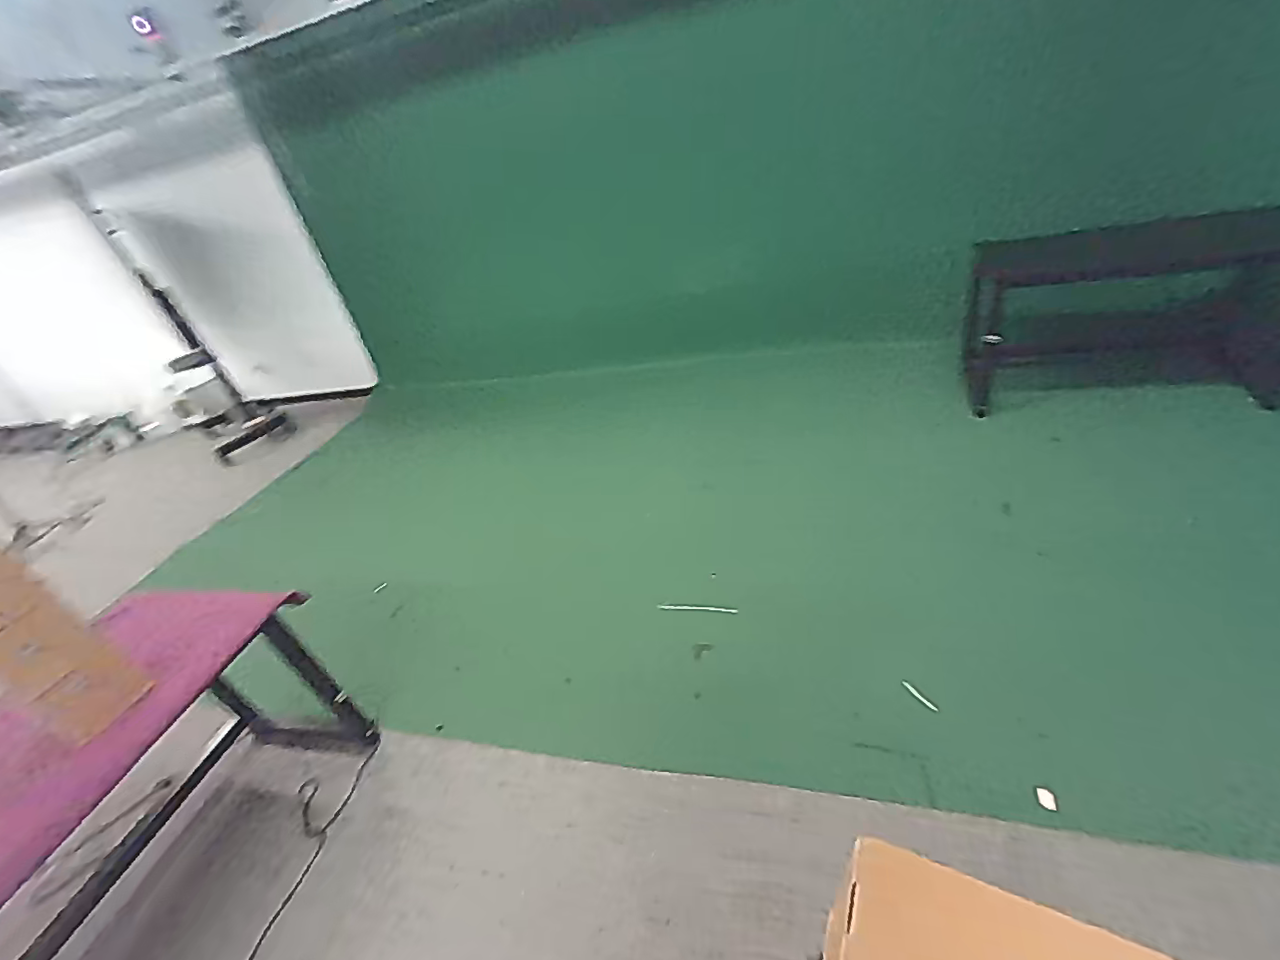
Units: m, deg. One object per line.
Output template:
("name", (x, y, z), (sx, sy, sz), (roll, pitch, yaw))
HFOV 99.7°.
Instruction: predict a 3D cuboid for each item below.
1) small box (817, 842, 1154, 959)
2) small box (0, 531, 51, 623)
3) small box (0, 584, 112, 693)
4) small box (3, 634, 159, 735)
("small box", (0.199, 0.372, 0.332), (0.179, 0.176, 0.168), (9, 40, 23))
("small box", (-1.408, 0.215, 1.127), (0.168, 0.176, 0.179), (2, 38, 23))
("small box", (-1.373, 0.349, 1.217), (0.168, 0.176, 0.179), (3, 39, 23))
("small box", (-1.341, 0.481, 1.308), (0.168, 0.176, 0.179), (5, 38, 26))
